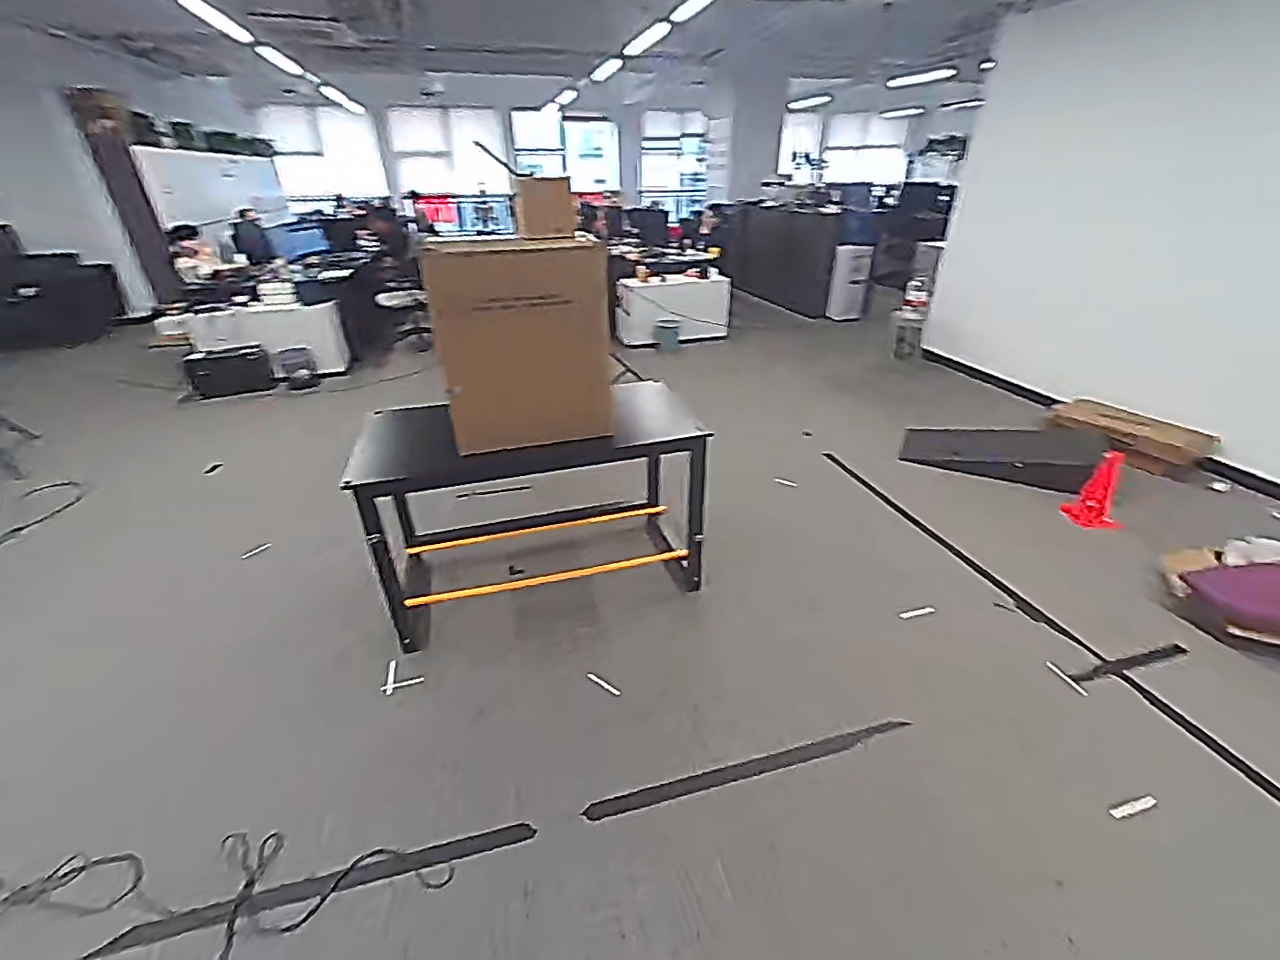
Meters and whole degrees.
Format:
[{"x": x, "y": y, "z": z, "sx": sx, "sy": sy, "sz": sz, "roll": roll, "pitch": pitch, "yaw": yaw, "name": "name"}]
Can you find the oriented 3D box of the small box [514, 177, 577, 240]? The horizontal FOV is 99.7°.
[{"x": -0.301, "y": -0.862, "z": 1.719, "sx": 0.168, "sy": 0.176, "sz": 0.179, "roll": -11, "pitch": 30, "yaw": -14, "name": "small box"}]
